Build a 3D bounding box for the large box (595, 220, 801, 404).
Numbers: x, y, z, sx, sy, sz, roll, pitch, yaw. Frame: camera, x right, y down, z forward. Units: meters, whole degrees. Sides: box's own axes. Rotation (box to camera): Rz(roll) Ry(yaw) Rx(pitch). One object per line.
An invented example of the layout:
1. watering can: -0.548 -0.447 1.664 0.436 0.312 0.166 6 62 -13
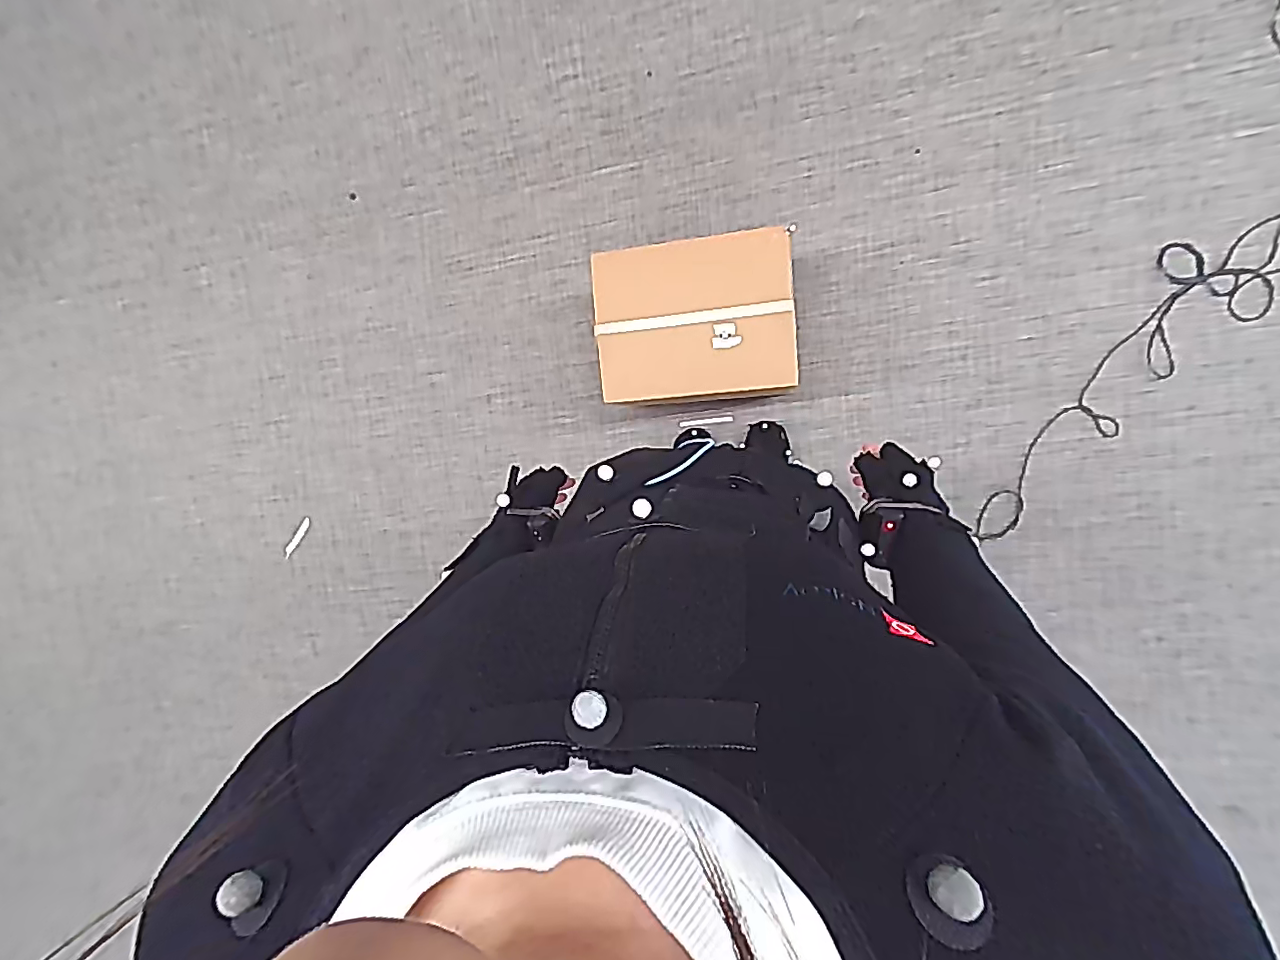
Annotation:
1. large box: 0.139 -0.355 1.247 0.408 0.320 0.320 -4 96 11
